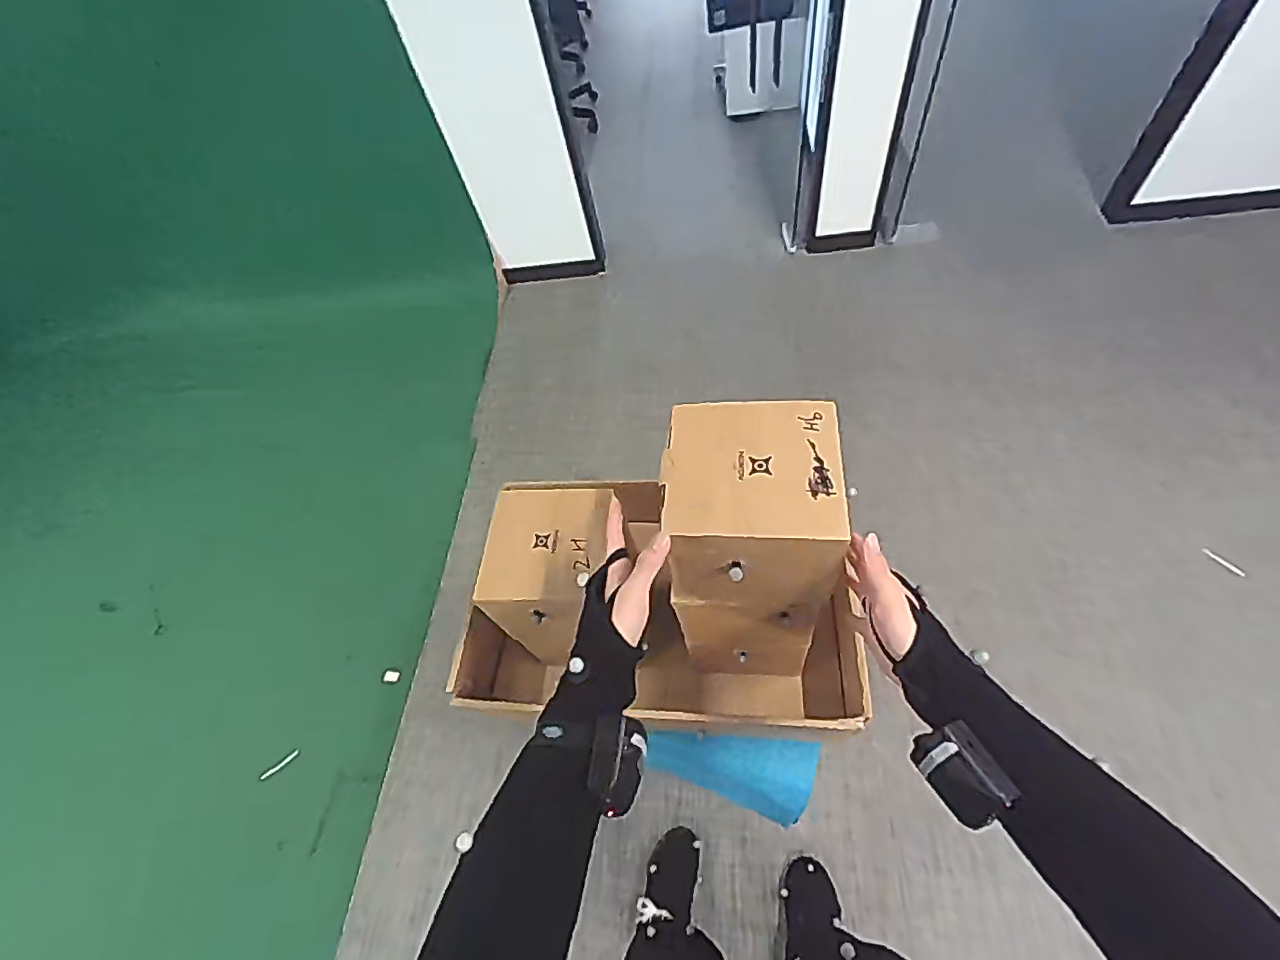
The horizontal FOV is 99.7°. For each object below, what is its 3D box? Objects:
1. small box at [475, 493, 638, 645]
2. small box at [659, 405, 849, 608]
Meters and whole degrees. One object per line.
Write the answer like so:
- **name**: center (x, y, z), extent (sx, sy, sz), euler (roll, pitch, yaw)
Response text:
- **small box**: center (-0.107, 0.132, 0.779), extent (0.179, 0.176, 0.168), euler (0, 57, 9)
- **small box**: center (0.126, 0.035, 0.604), extent (0.179, 0.176, 0.168), euler (0, 57, 12)
